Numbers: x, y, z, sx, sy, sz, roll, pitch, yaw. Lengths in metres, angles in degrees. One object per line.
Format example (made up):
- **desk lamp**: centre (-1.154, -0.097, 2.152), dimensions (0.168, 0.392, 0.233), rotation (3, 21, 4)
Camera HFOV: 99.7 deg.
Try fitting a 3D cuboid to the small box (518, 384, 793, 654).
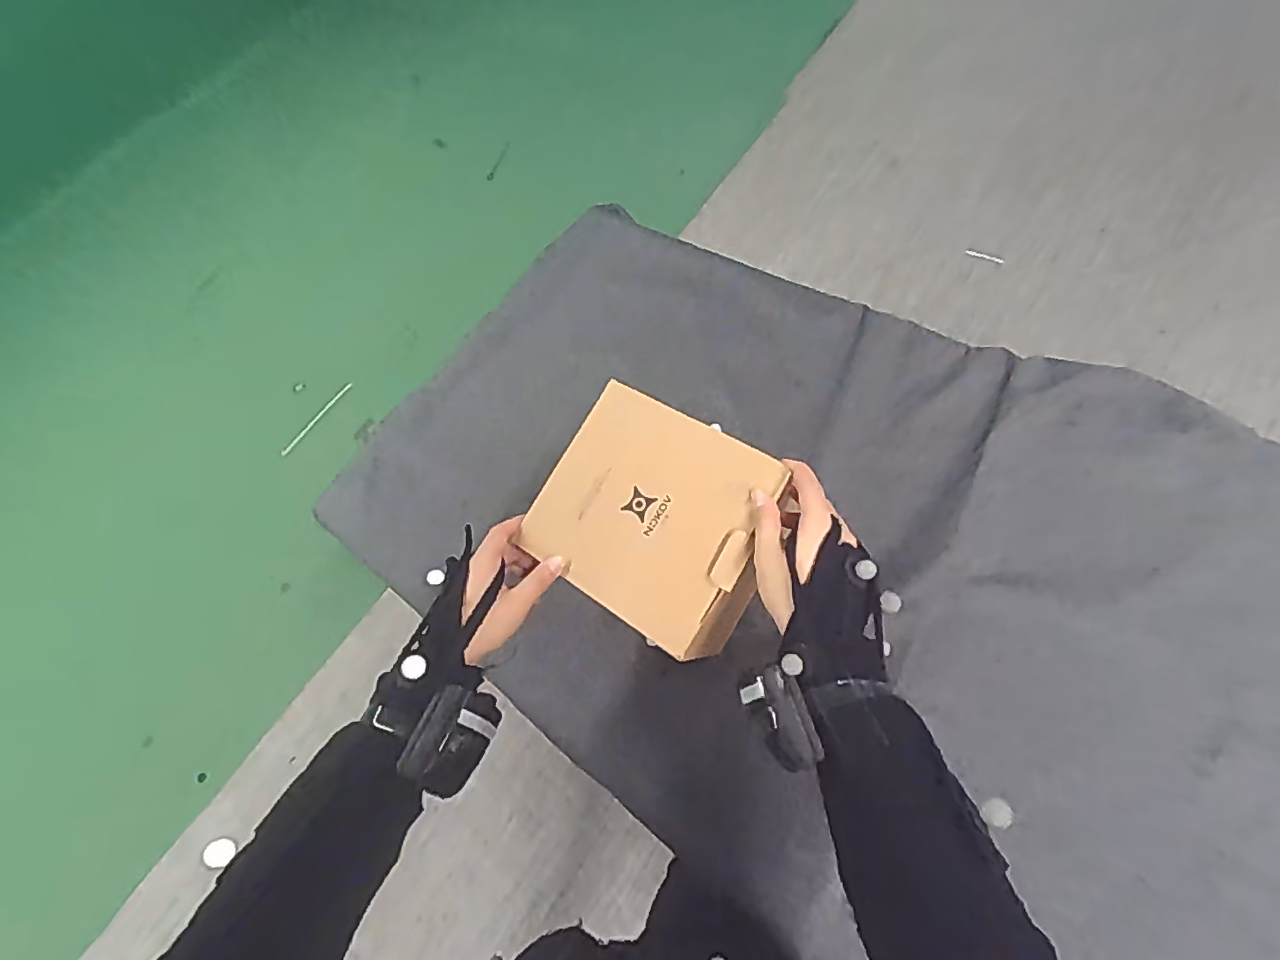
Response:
- **small box**: centre (0.029, 0.043, 0.505), dimensions (0.179, 0.176, 0.168), rotation (28, 82, 24)
